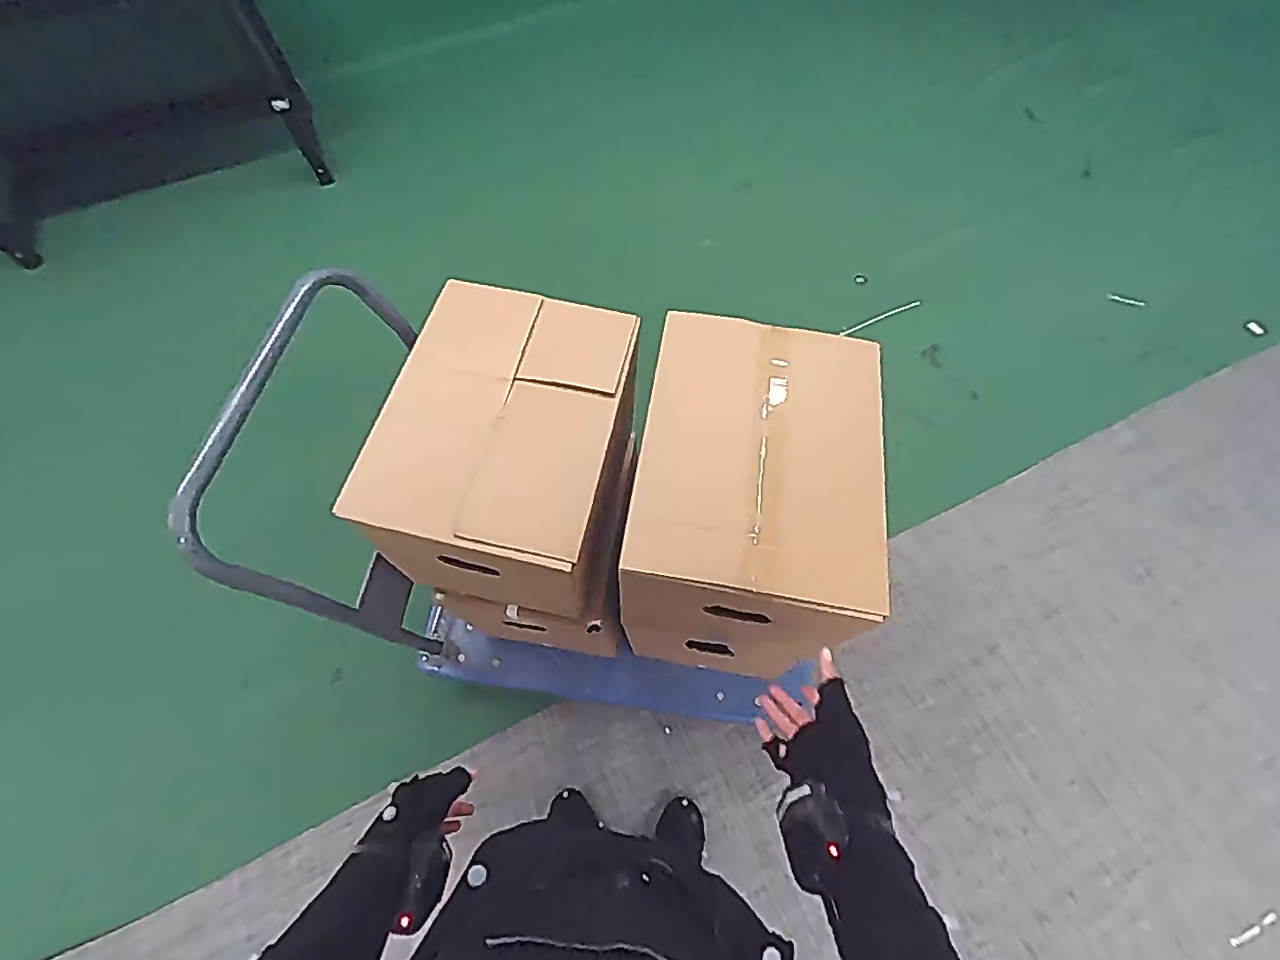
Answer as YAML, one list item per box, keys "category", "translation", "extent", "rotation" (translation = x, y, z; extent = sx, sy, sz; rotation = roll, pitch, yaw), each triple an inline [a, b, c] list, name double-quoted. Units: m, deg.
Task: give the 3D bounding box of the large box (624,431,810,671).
- category: "large box"
  translation: [0.161, 0.155, 1.130]
  extent: [0.320, 0.320, 0.408]
  rotation: [7, 66, 8]
